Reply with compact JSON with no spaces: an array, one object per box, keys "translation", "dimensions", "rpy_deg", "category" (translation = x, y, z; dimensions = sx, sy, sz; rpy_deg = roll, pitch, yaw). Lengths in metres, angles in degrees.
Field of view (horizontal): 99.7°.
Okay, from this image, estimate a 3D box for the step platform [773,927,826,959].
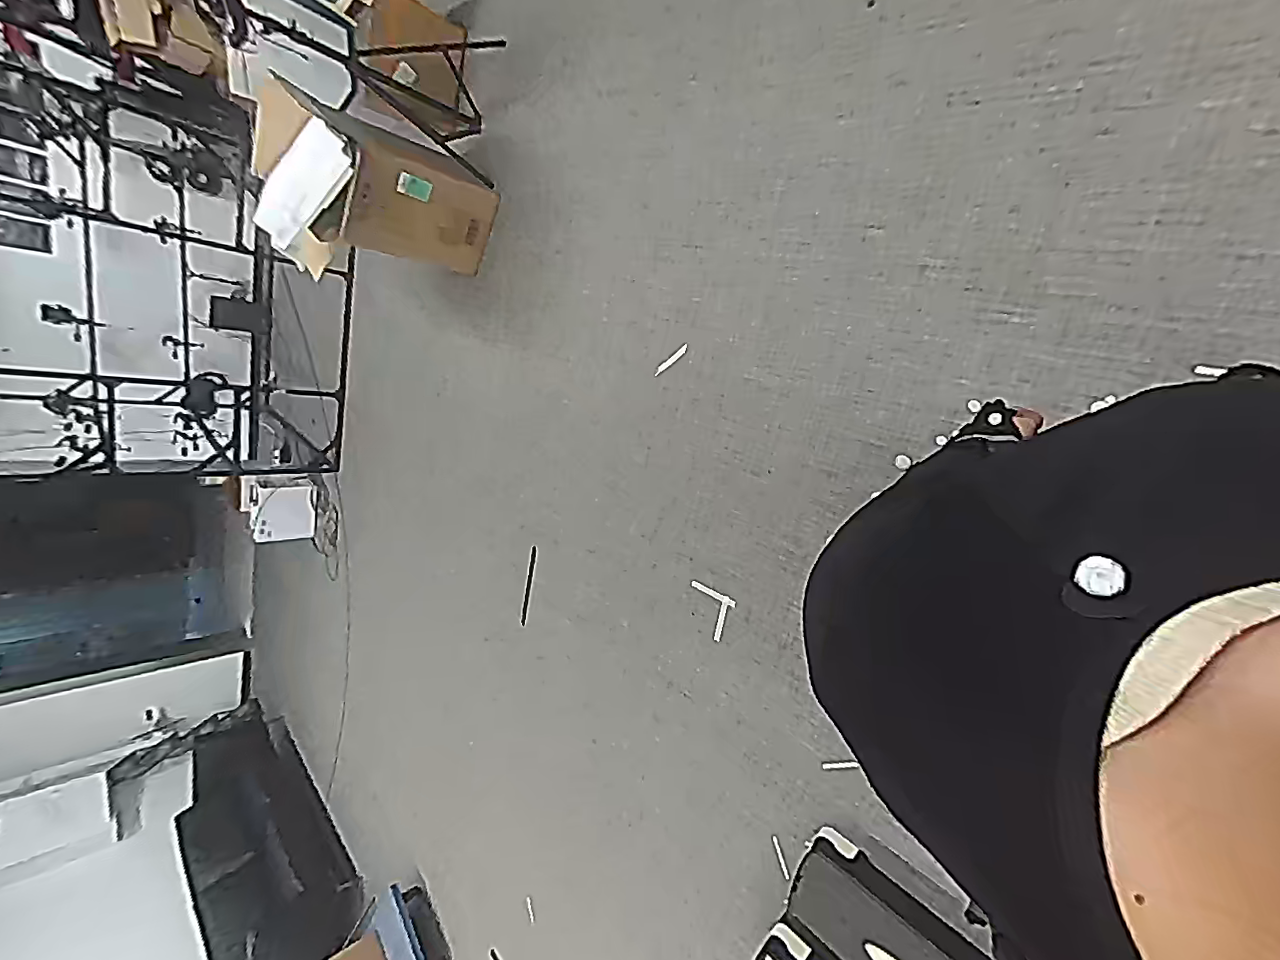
[{"translation":[0.578,1.513,1.300],"dimensions":[0.684,0.204,0.286],"rpy_deg":[31,111,40],"category":"step platform"}]
